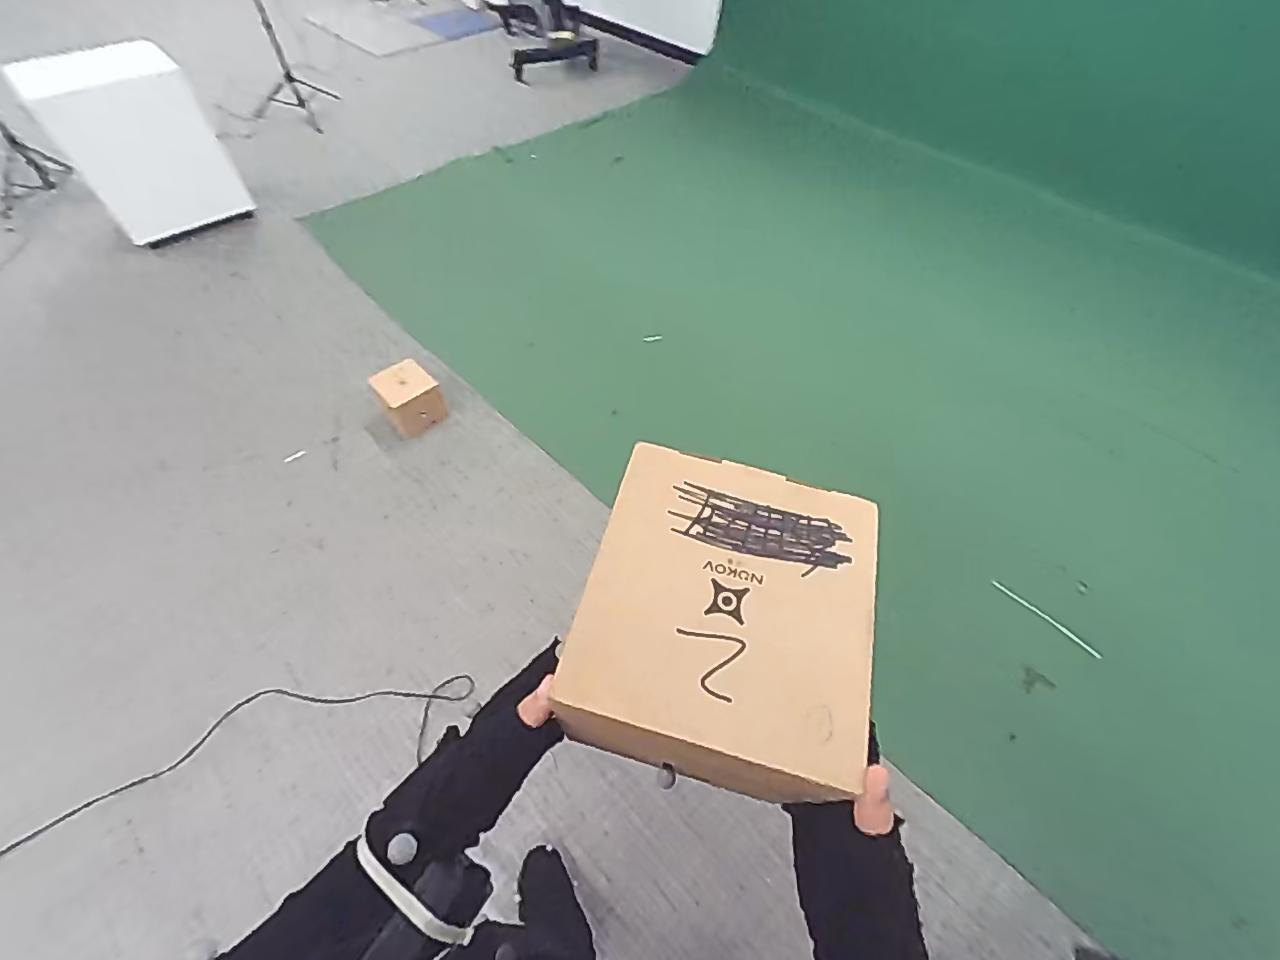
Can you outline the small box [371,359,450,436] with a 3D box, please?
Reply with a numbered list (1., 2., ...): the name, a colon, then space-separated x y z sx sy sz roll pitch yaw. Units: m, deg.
1. small box: -0.779 -0.275 1.854 0.168 0.176 0.179 -38 64 -26
